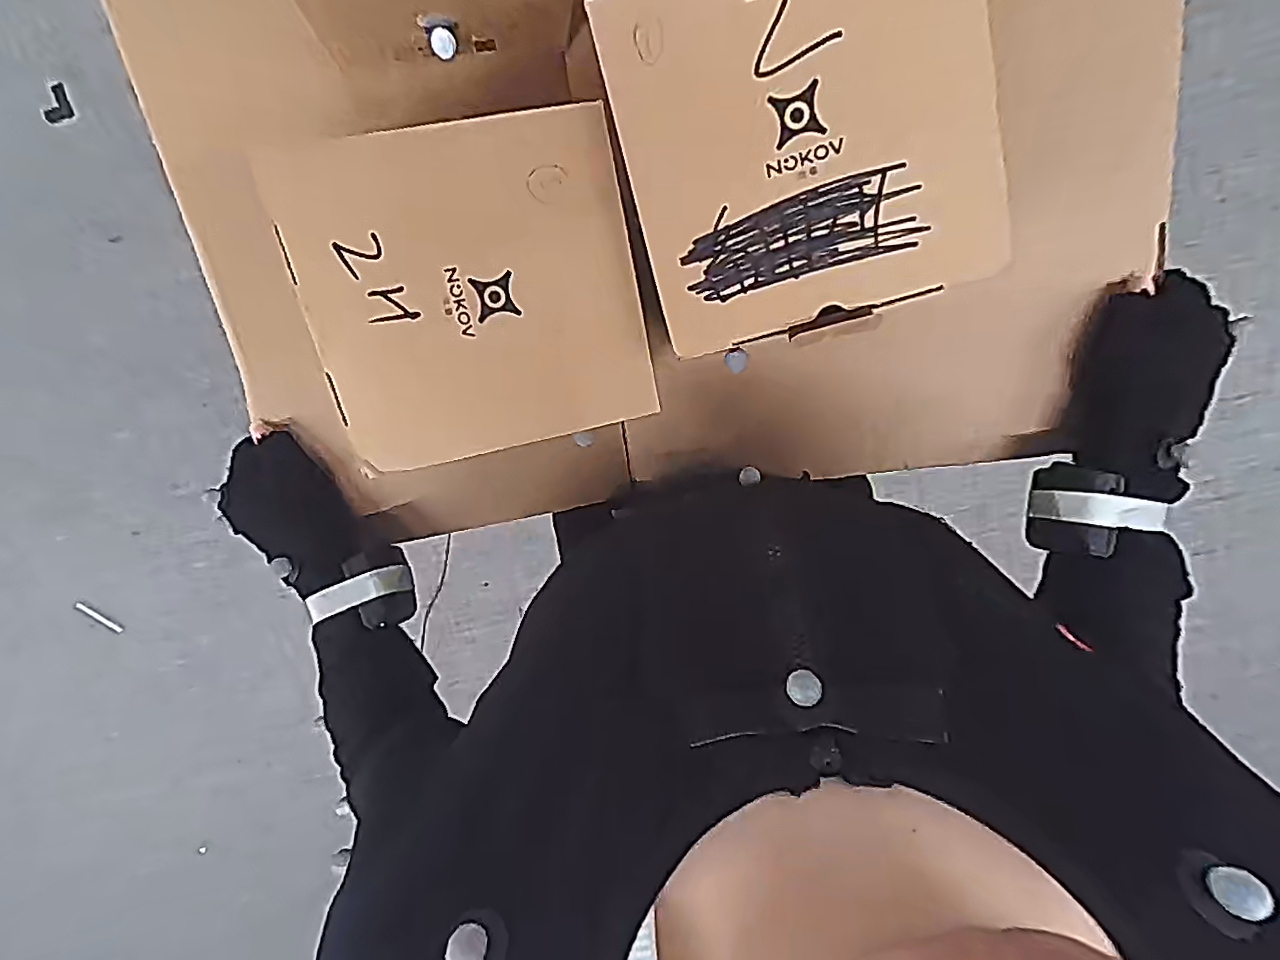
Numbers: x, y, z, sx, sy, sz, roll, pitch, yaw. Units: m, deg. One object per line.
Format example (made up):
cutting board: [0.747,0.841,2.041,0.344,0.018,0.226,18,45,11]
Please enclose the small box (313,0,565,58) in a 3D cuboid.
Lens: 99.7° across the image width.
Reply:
small box: [-0.135,-0.379,0.297,0.168,0.176,0.179,-13,107,-8]
